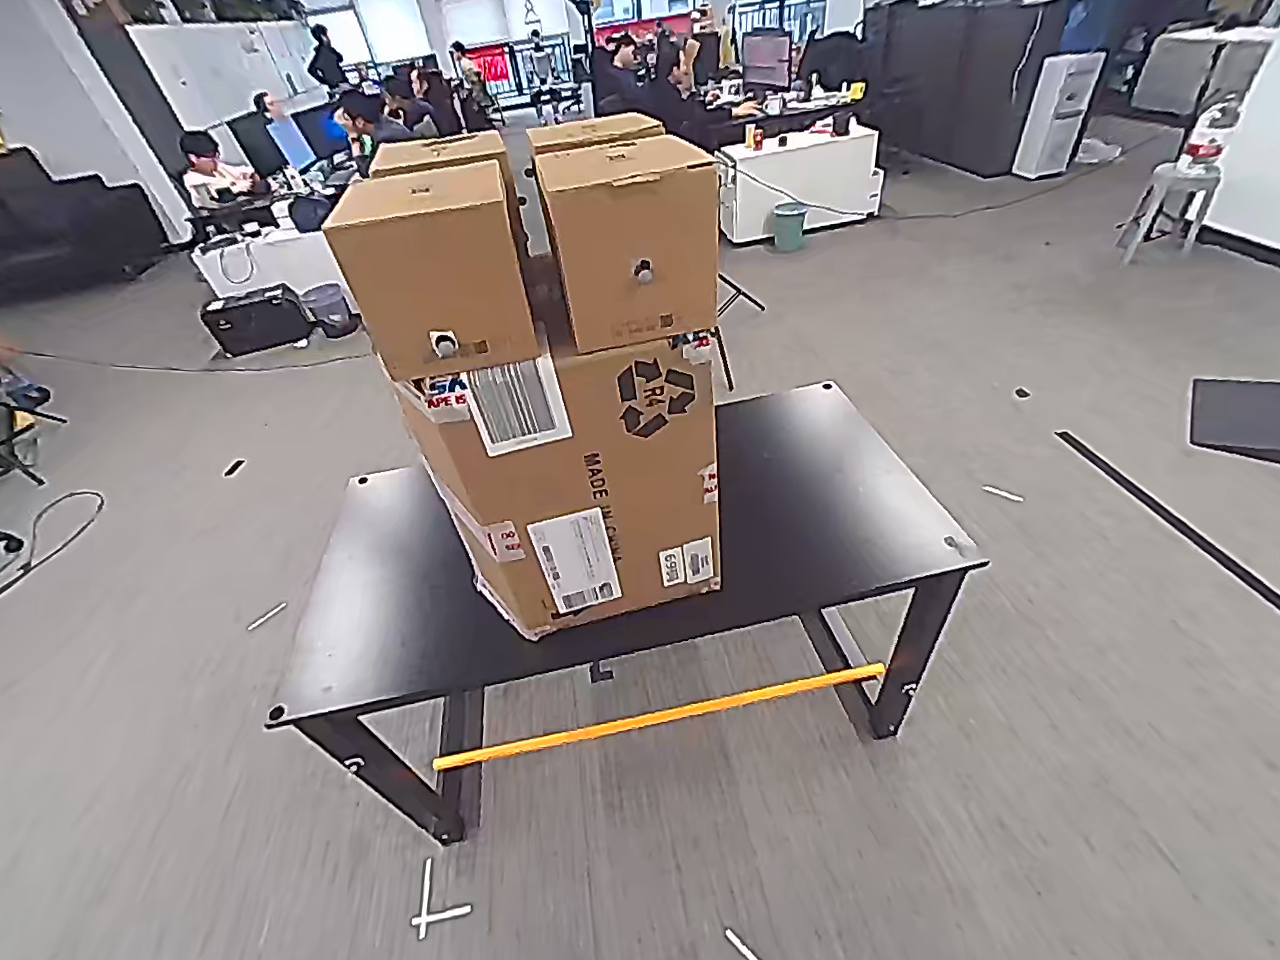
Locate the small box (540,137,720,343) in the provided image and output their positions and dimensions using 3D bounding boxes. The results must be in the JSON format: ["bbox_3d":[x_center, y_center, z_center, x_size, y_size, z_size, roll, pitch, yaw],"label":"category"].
[{"bbox_3d":[-0.012,-0.268,0.617,0.168,0.176,0.179,-11,42,-7],"label":"small box"}]
